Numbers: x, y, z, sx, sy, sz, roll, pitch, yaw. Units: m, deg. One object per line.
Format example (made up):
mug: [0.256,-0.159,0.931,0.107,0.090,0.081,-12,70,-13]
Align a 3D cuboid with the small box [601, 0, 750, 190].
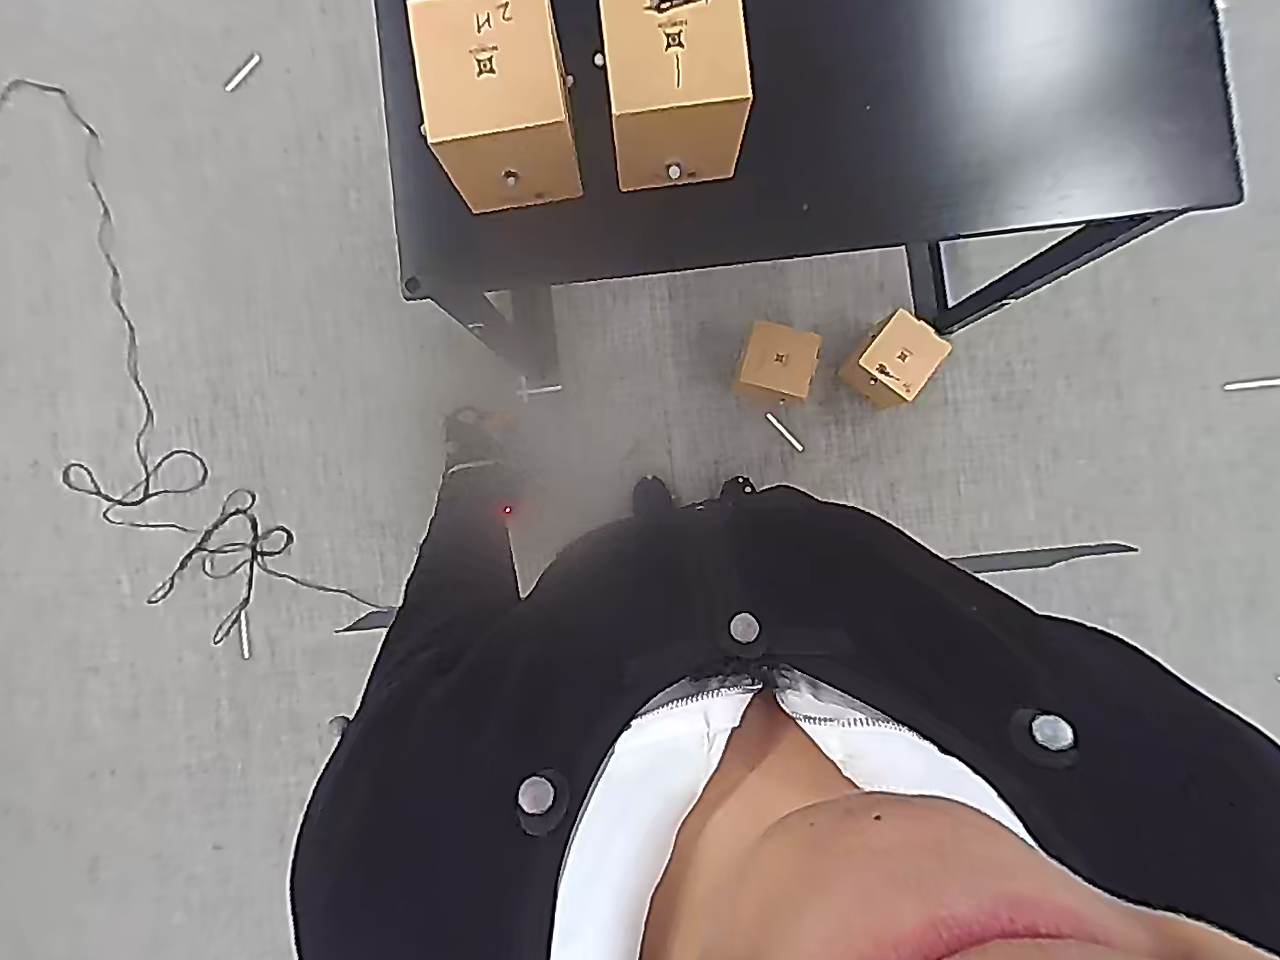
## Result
small box: [0.041,-0.517,0.709,0.168,0.176,0.179,-6,90,2]

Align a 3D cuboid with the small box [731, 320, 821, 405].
small box: [0.352,-0.302,1.429,0.179,0.176,0.168,15,89,3]

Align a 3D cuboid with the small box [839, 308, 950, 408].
small box: [0.655,-0.312,1.417,0.168,0.176,0.179,37,91,2]
